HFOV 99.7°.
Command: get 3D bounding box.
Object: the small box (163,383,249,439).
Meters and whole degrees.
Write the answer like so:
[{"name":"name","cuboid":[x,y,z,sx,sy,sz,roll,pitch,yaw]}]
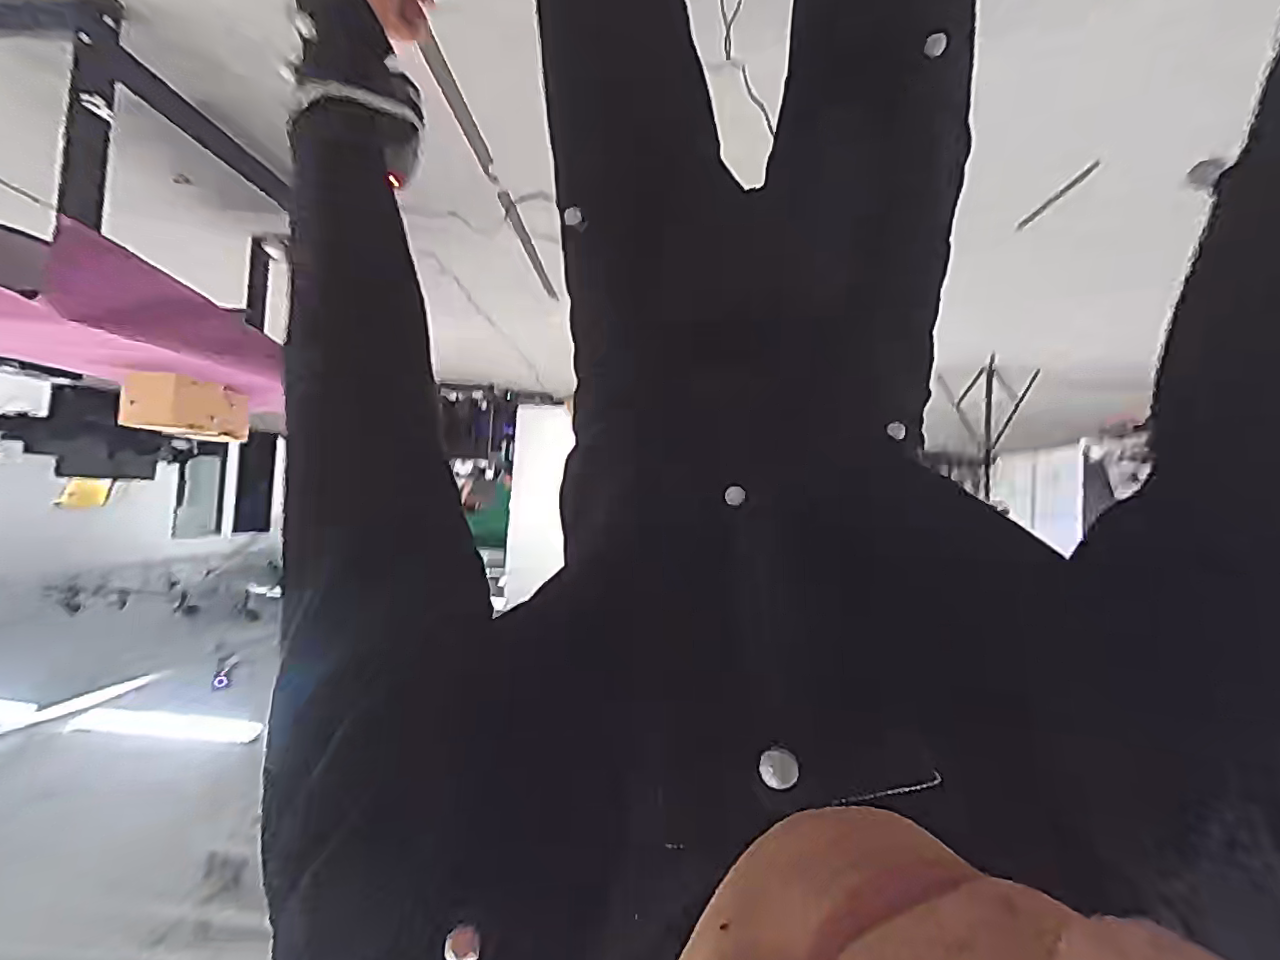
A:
[{"name":"small box","cuboid":[-1.519,-0.243,1.904,0.179,0.176,0.168,2,178,5]}]
